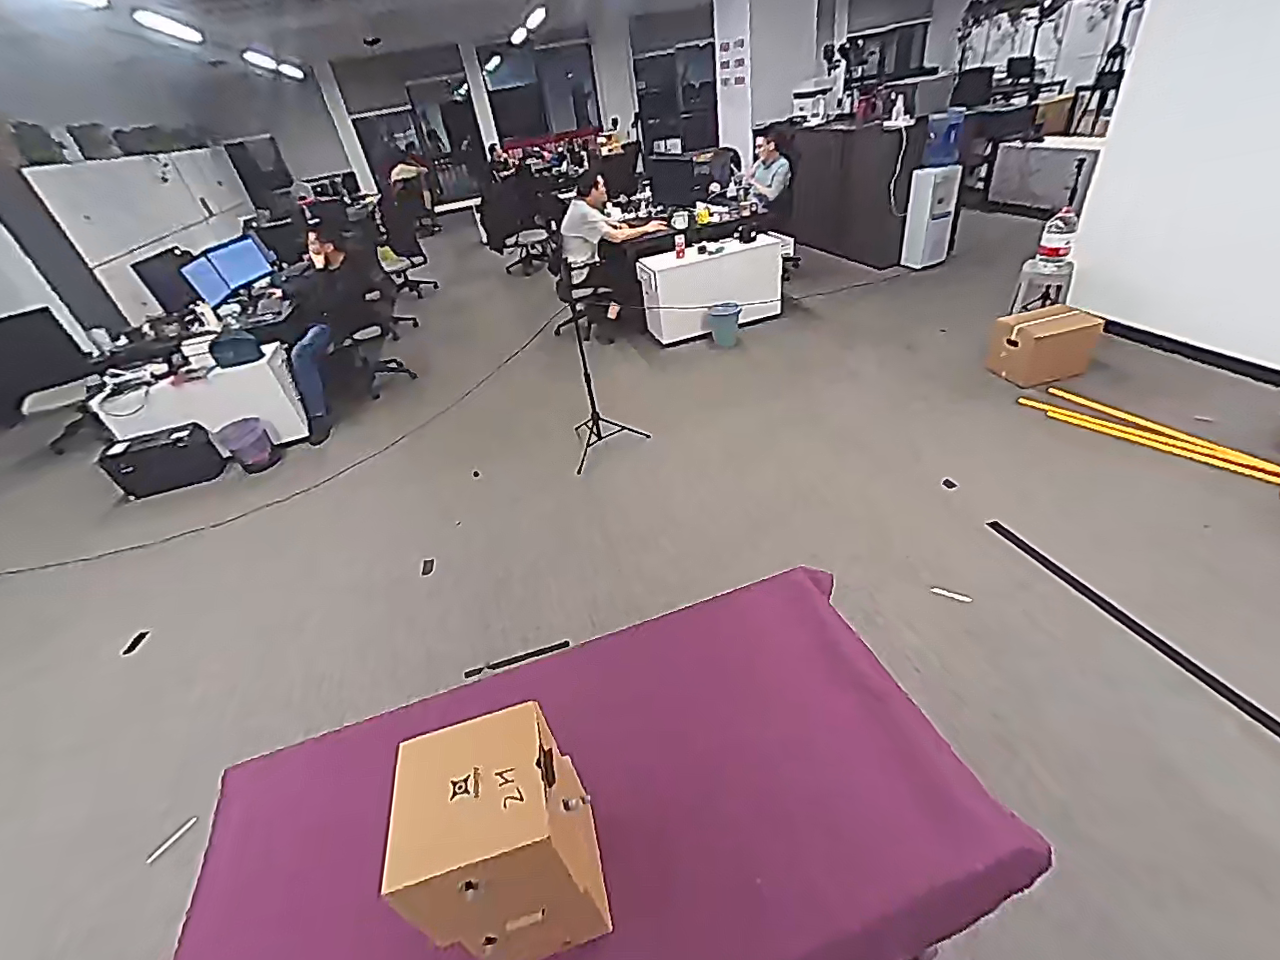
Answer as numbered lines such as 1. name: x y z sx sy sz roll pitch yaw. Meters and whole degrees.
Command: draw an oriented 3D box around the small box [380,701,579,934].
1. small box: -0.185 0.411 0.661 0.179 0.176 0.168 -14 36 -7
